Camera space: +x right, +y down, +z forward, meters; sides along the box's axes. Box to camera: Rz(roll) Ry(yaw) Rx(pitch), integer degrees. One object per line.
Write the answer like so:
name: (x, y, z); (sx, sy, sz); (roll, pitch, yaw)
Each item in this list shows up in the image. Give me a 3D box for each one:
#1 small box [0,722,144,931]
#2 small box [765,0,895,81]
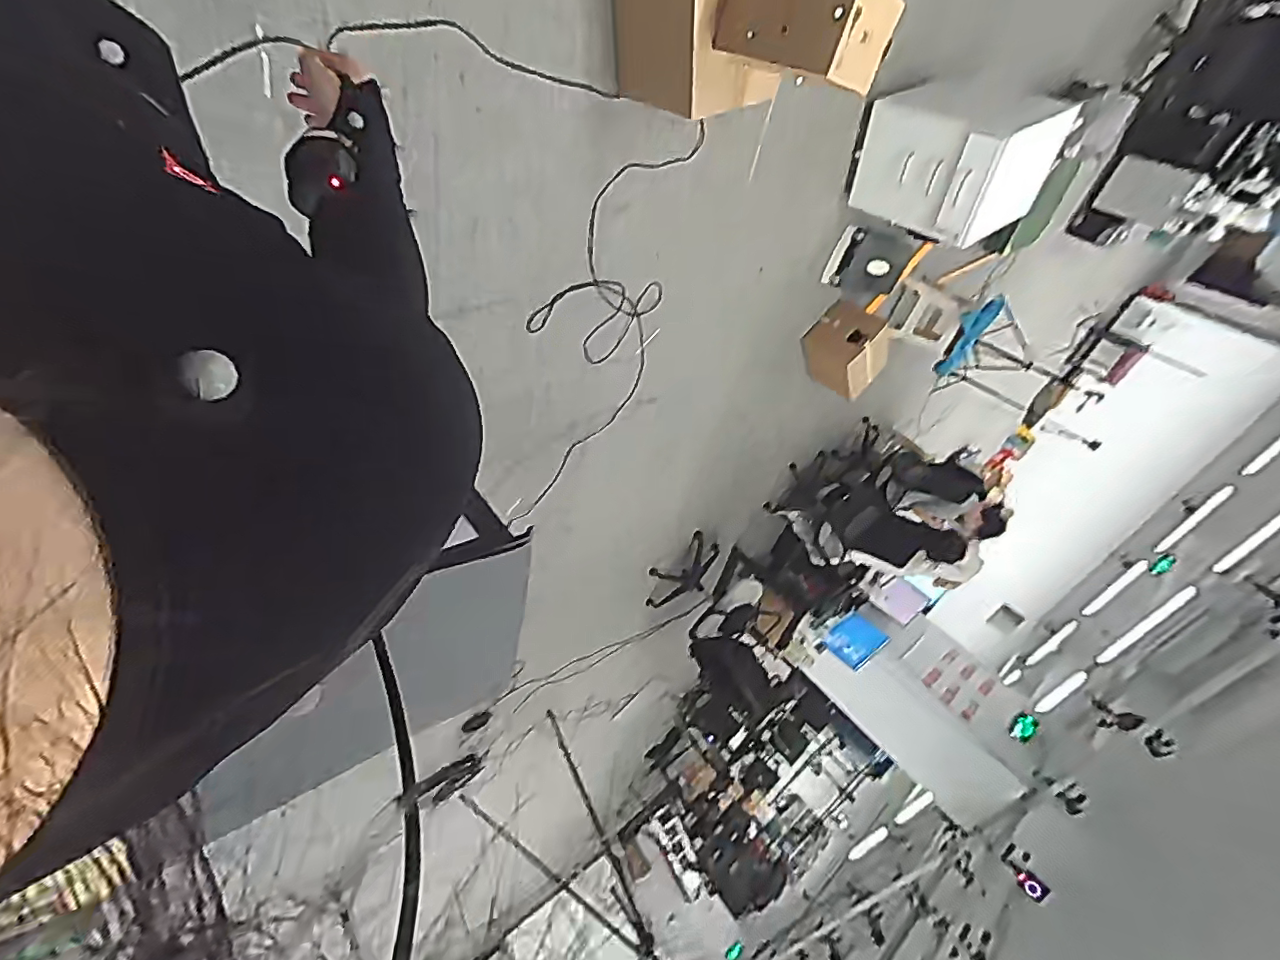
small box: (-0.847, 0.494, 0.786); (0.168, 0.176, 0.179); (-5, 130, -49)
small box: (0.399, -0.973, 1.137); (0.179, 0.176, 0.168); (-19, 138, -40)
